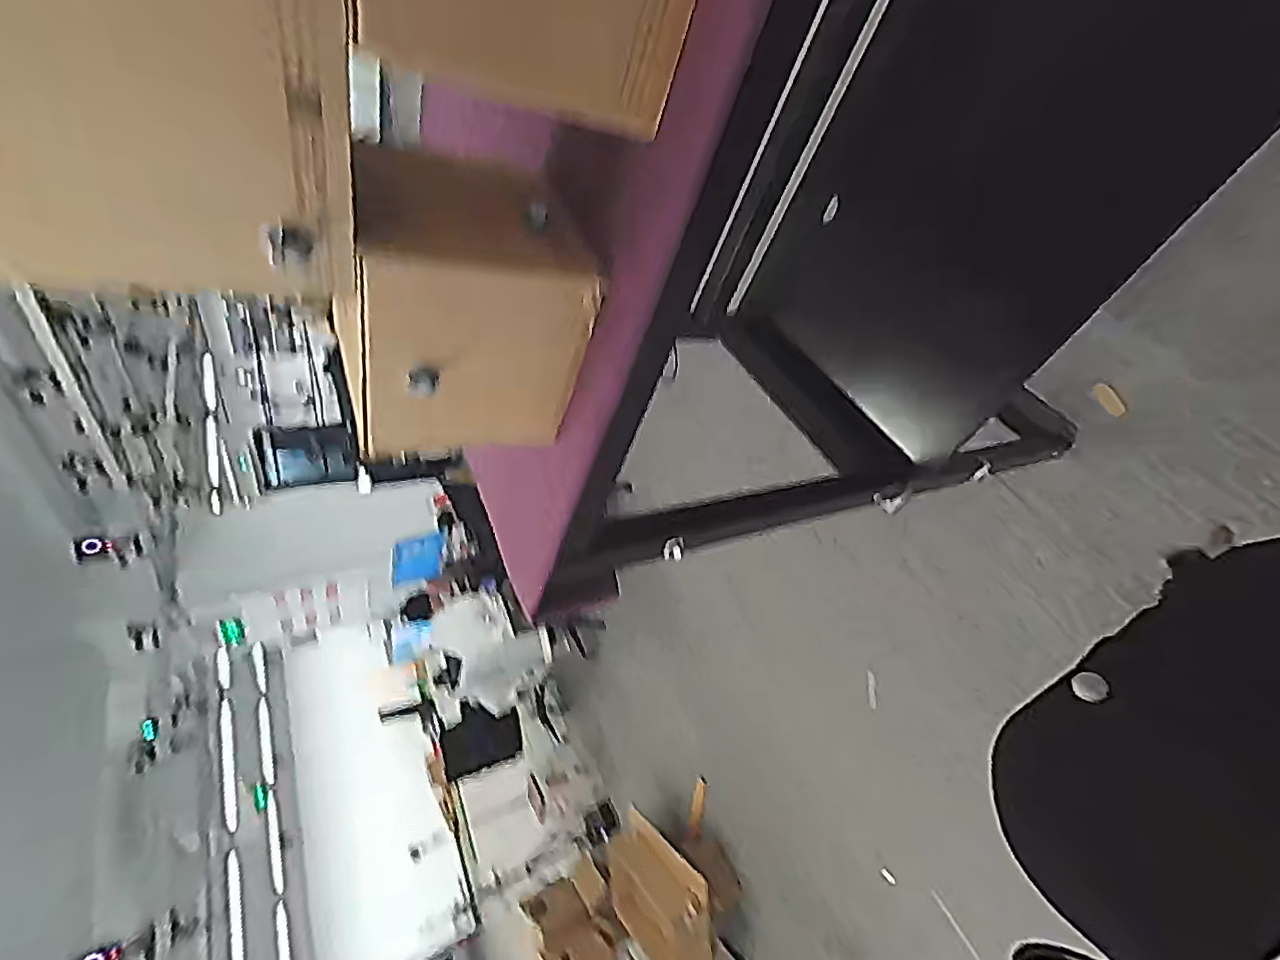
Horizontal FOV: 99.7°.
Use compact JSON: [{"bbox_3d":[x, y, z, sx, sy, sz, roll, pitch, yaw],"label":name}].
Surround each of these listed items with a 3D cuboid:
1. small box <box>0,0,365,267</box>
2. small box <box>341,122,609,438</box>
[{"bbox_3d":[-0.248,-0.231,0.287,0.179,0.176,0.168,60,142,33],"label":"small box"},{"bbox_3d":[-0.144,-0.154,0.450,0.168,0.176,0.179,62,142,29],"label":"small box"}]
